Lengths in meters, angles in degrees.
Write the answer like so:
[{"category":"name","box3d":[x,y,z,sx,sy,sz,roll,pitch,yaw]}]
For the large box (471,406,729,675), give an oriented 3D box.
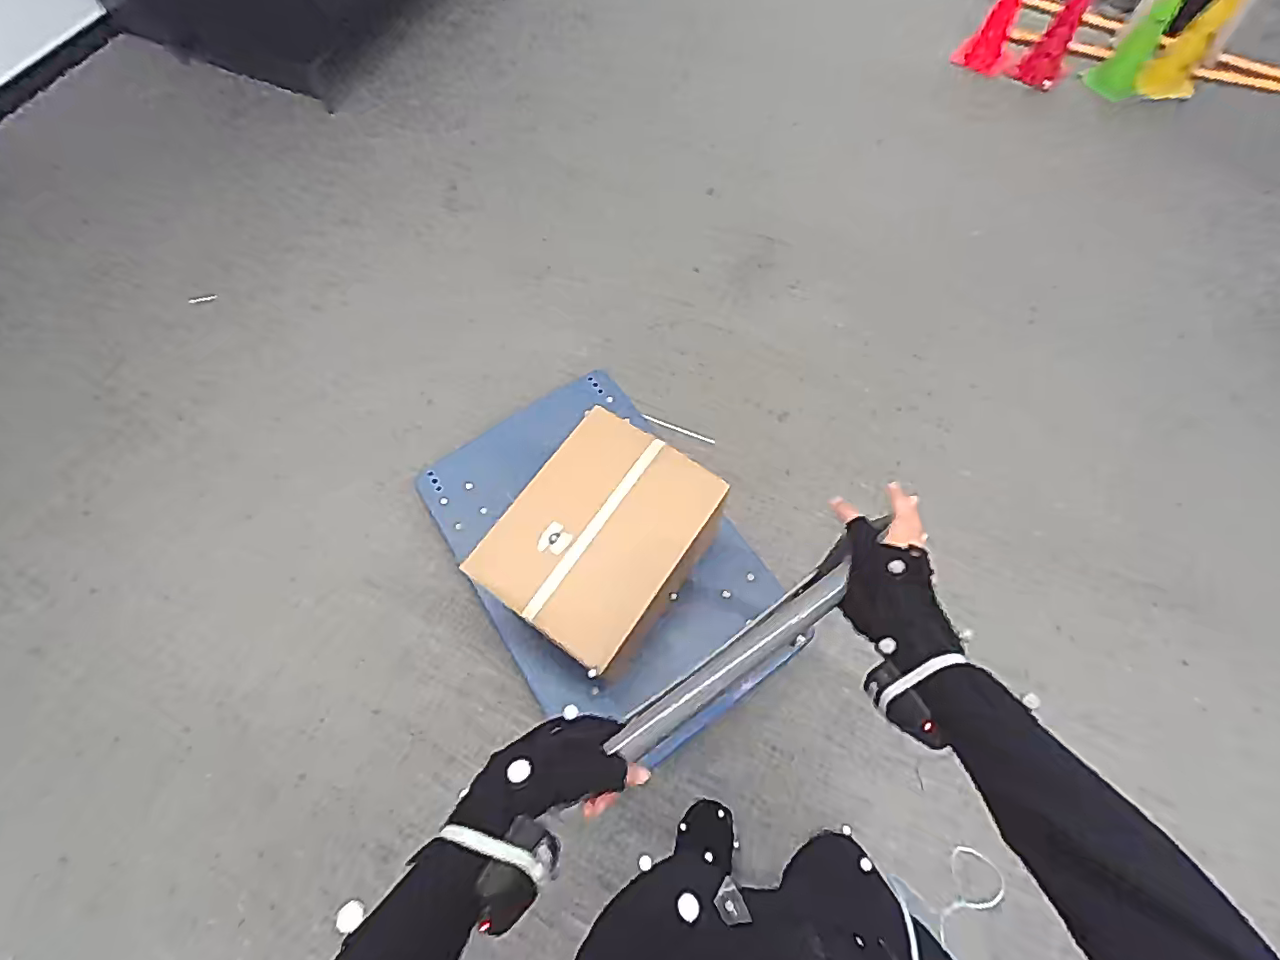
[{"category":"large box","box3d":[-0.061,0.136,1.112,0.320,0.320,0.408,32,72,15]}]
